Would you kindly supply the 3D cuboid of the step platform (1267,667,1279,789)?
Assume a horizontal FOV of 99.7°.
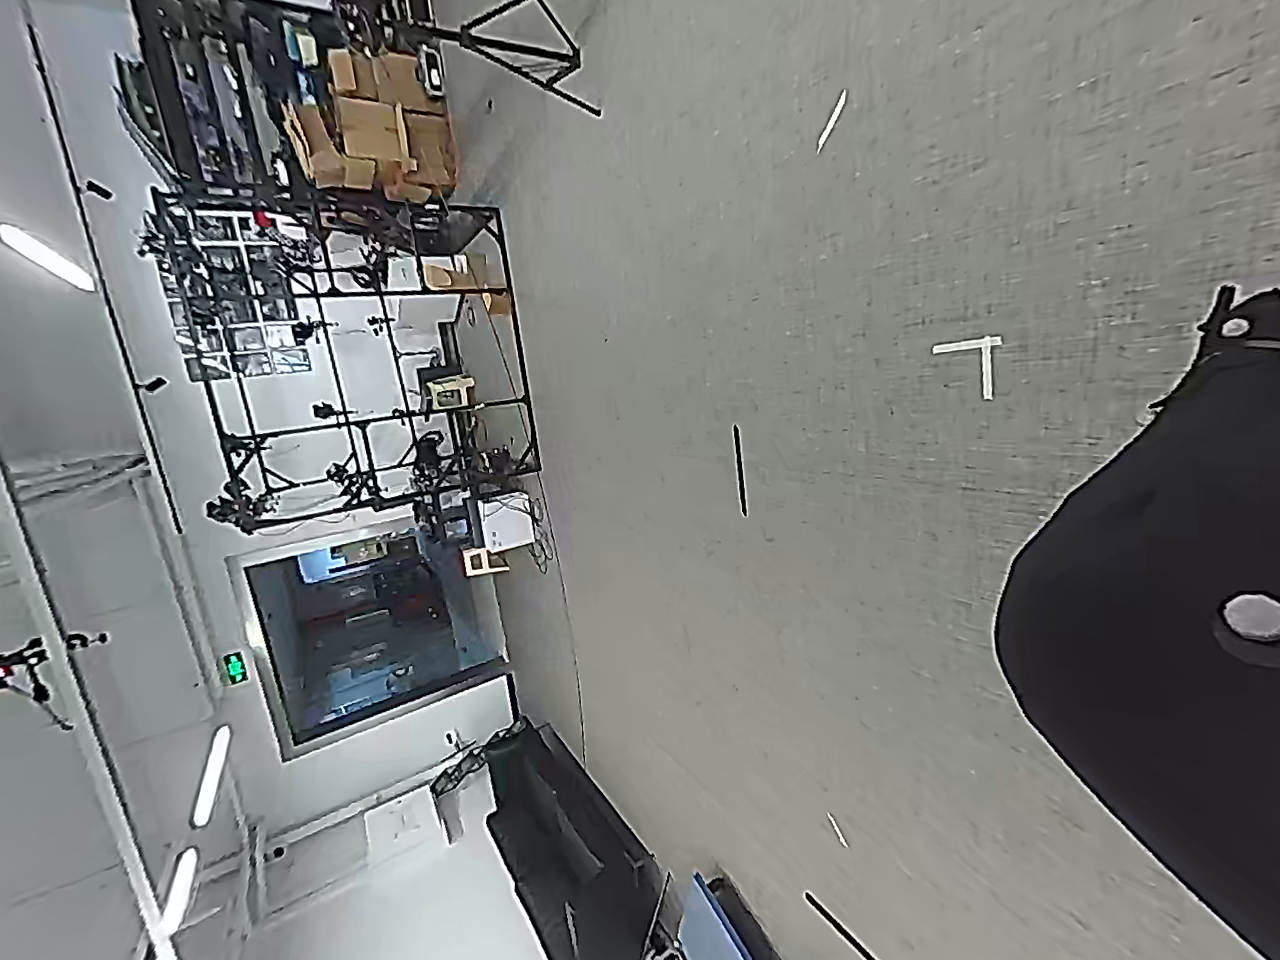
[{"bbox_3d":[1.337,0.436,0.701,0.684,0.204,0.286,11,111,60],"label":"step platform"}]
